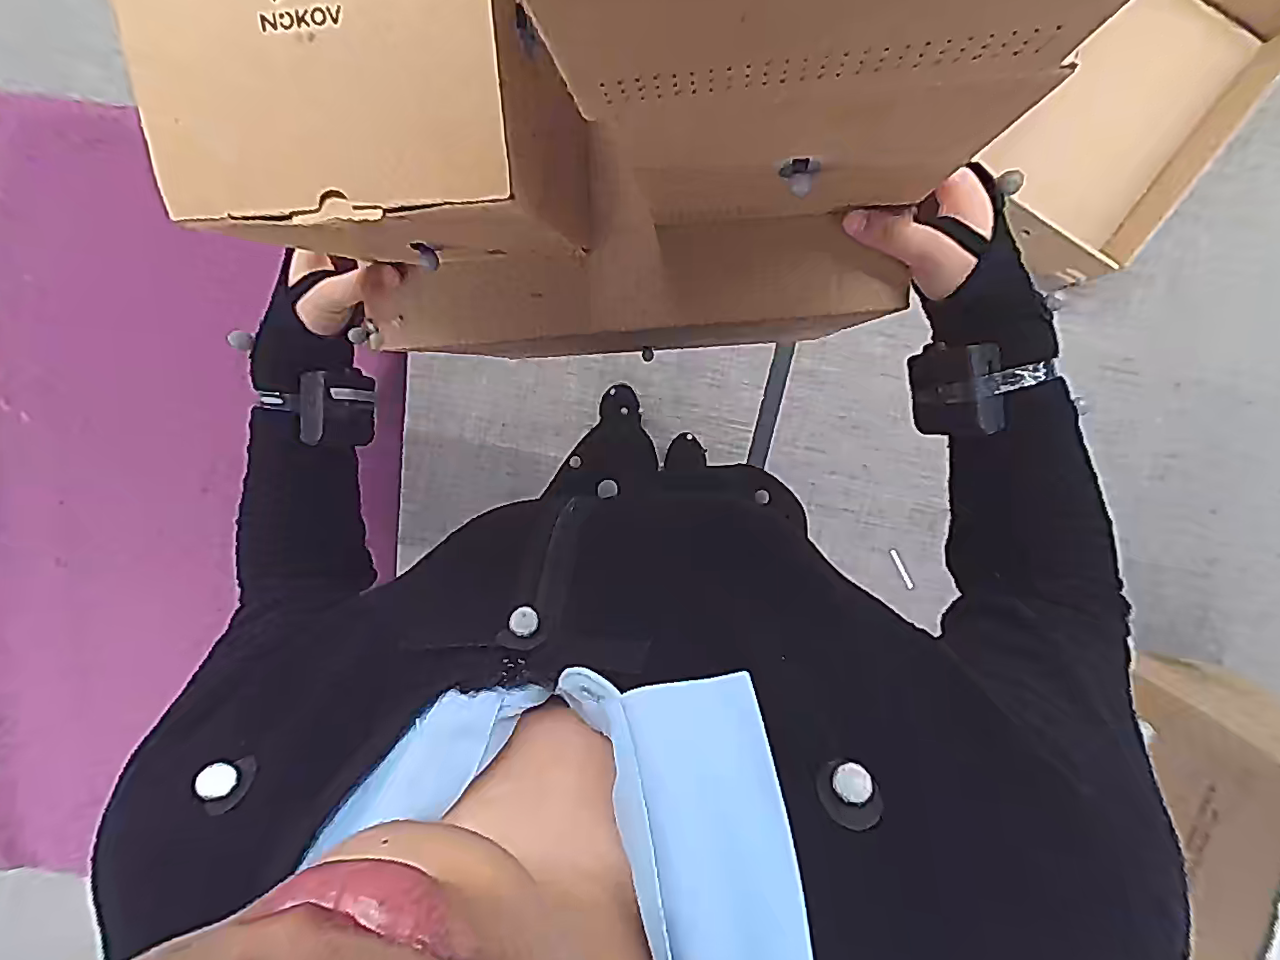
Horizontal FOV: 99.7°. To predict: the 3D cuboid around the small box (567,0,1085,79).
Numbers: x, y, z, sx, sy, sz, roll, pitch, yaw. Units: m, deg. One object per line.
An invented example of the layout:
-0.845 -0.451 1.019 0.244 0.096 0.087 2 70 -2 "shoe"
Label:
0.053 -0.214 0.106 0.179 0.176 0.168 0 101 8 "small box"
